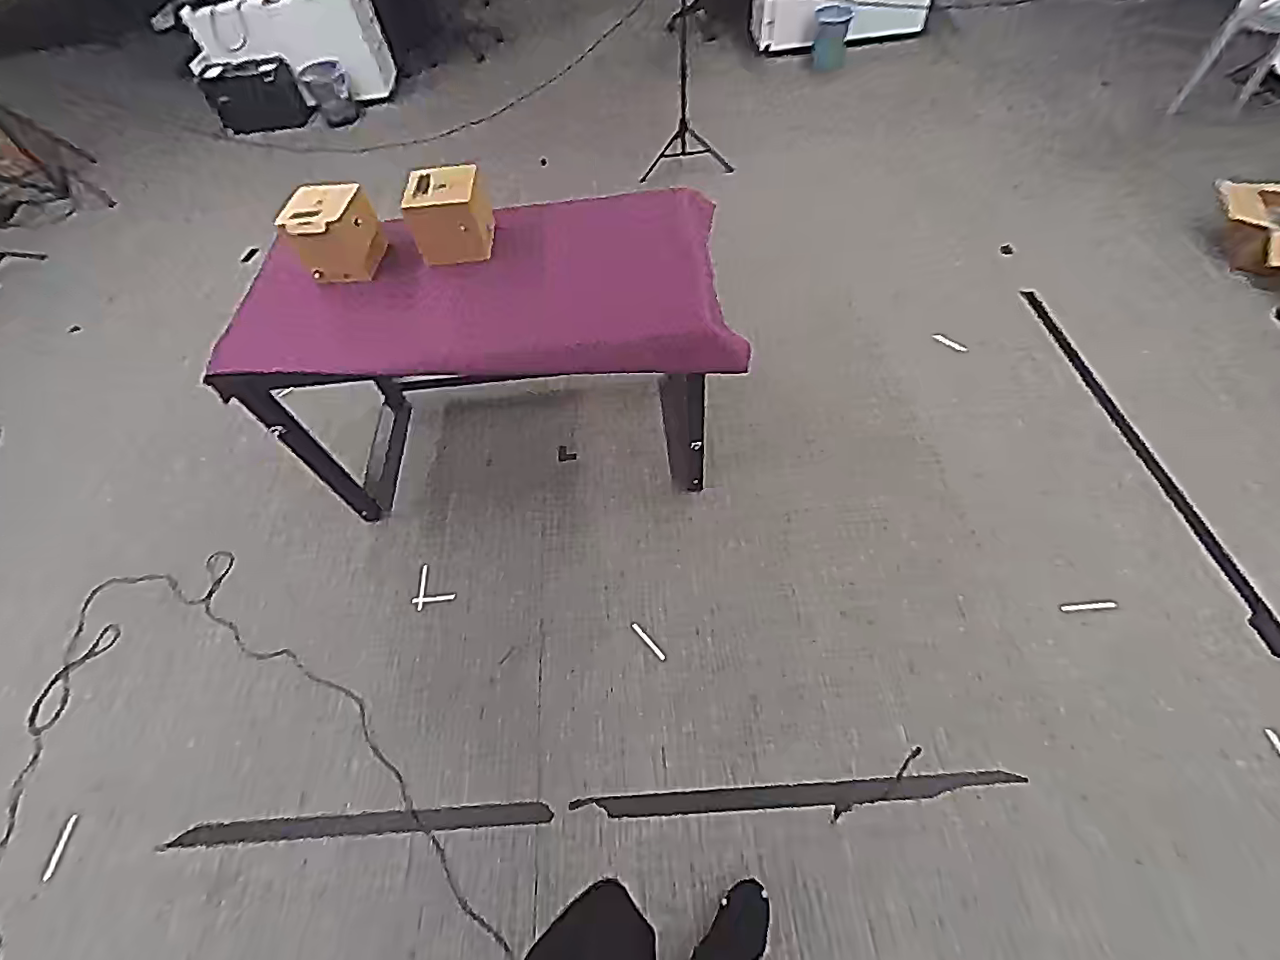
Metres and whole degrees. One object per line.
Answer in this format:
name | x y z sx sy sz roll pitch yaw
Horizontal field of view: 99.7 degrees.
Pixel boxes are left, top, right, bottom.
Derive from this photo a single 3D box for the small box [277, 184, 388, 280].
small box | -0.793 -0.643 1.417 0.168 0.176 0.179 0 57 5
